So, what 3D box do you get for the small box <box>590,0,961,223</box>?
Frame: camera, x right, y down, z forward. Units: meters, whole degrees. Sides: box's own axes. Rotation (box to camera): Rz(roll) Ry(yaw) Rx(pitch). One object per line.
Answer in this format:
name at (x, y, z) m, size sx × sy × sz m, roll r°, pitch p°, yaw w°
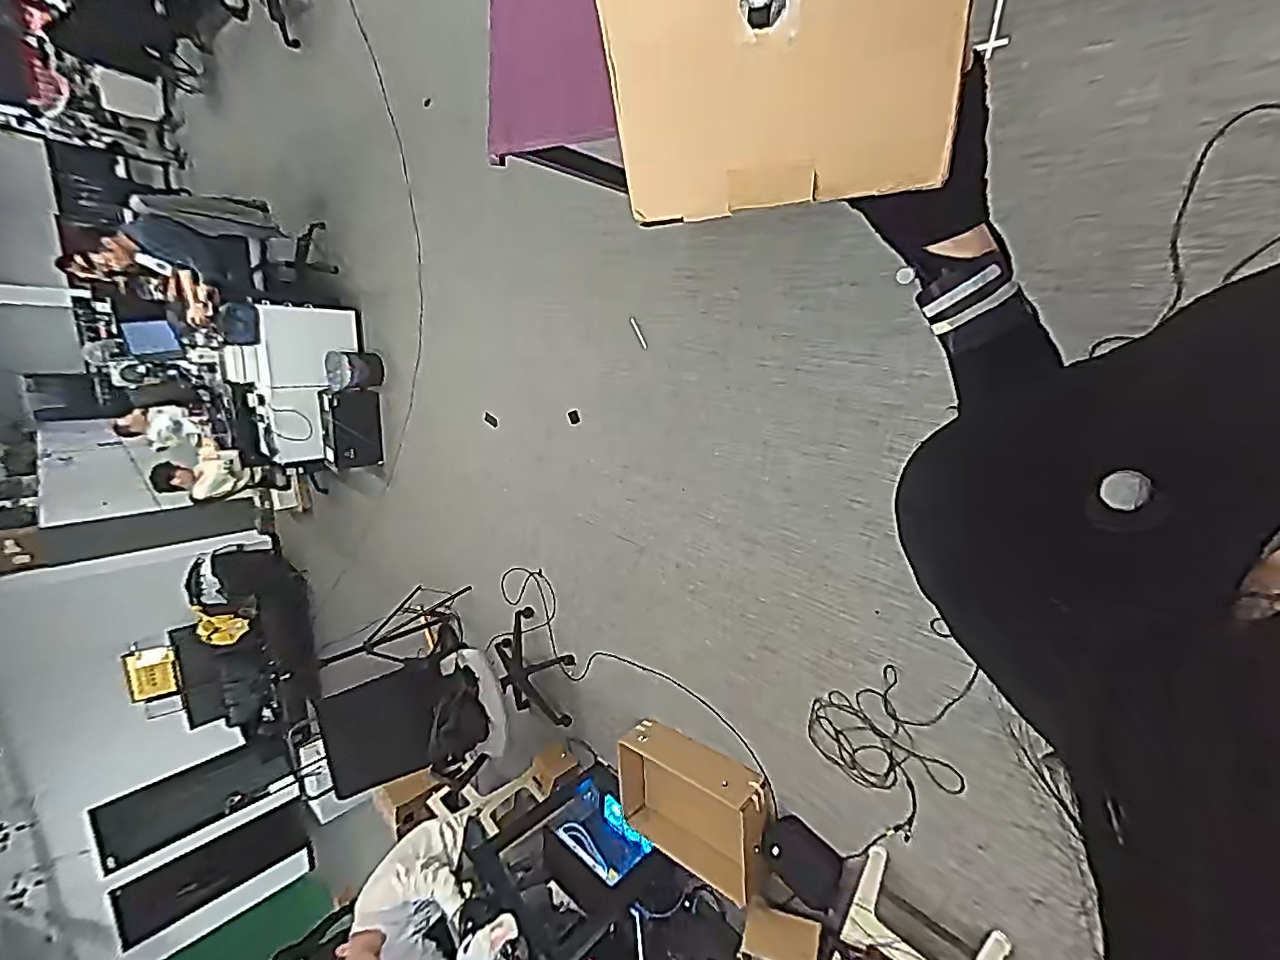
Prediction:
small box at (0.078, -0.259, 0.293) m, size 0.168 × 0.179 × 0.176 m, roll 5°, pitch 129°, yaw 24°
